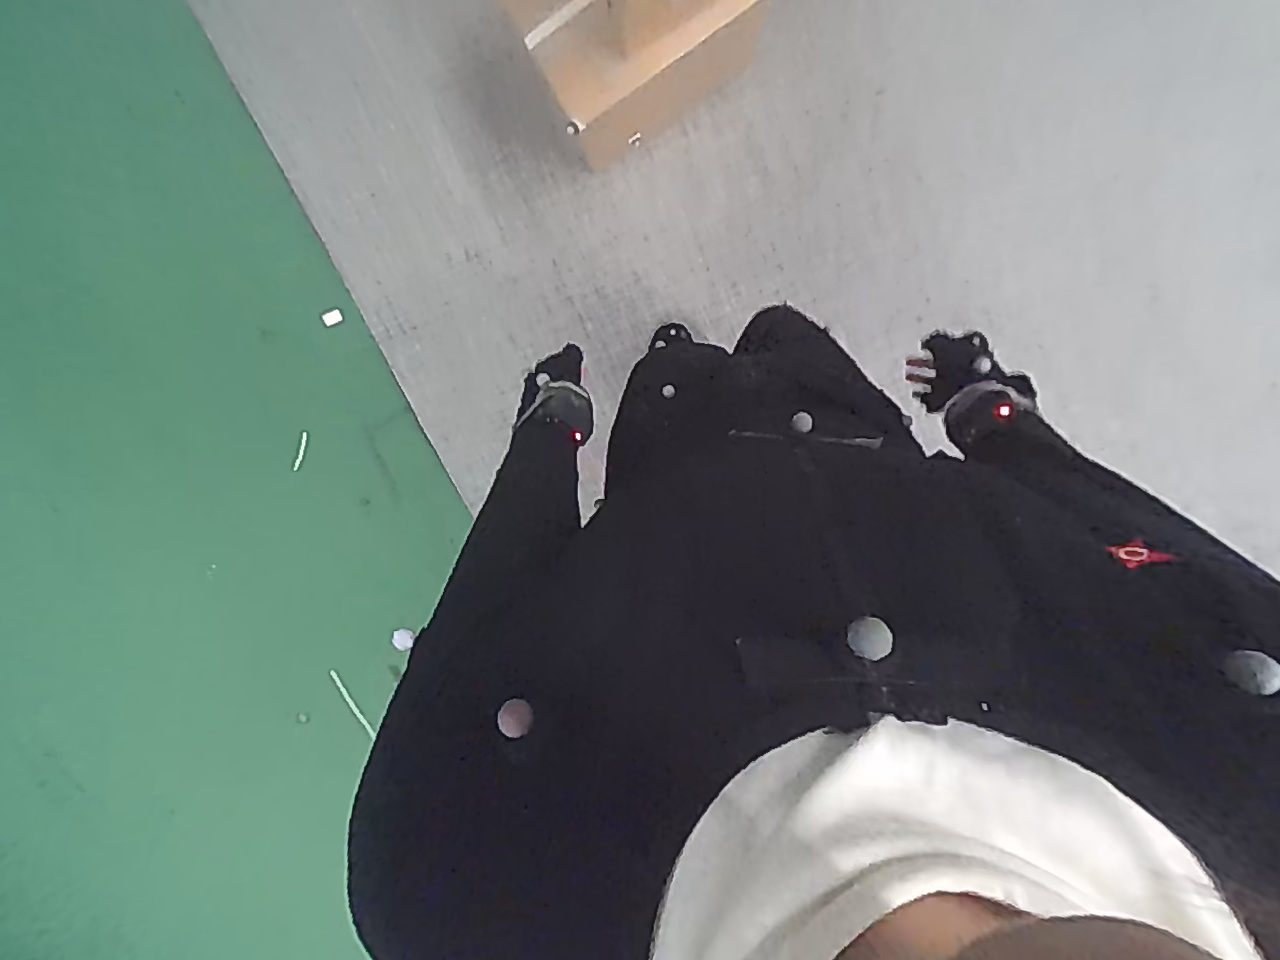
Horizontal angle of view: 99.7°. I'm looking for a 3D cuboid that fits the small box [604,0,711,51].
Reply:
[{"bbox_3d":[0.015,-0.799,0.807,0.179,0.176,0.168,-27,105,9],"label":"small box"}]
